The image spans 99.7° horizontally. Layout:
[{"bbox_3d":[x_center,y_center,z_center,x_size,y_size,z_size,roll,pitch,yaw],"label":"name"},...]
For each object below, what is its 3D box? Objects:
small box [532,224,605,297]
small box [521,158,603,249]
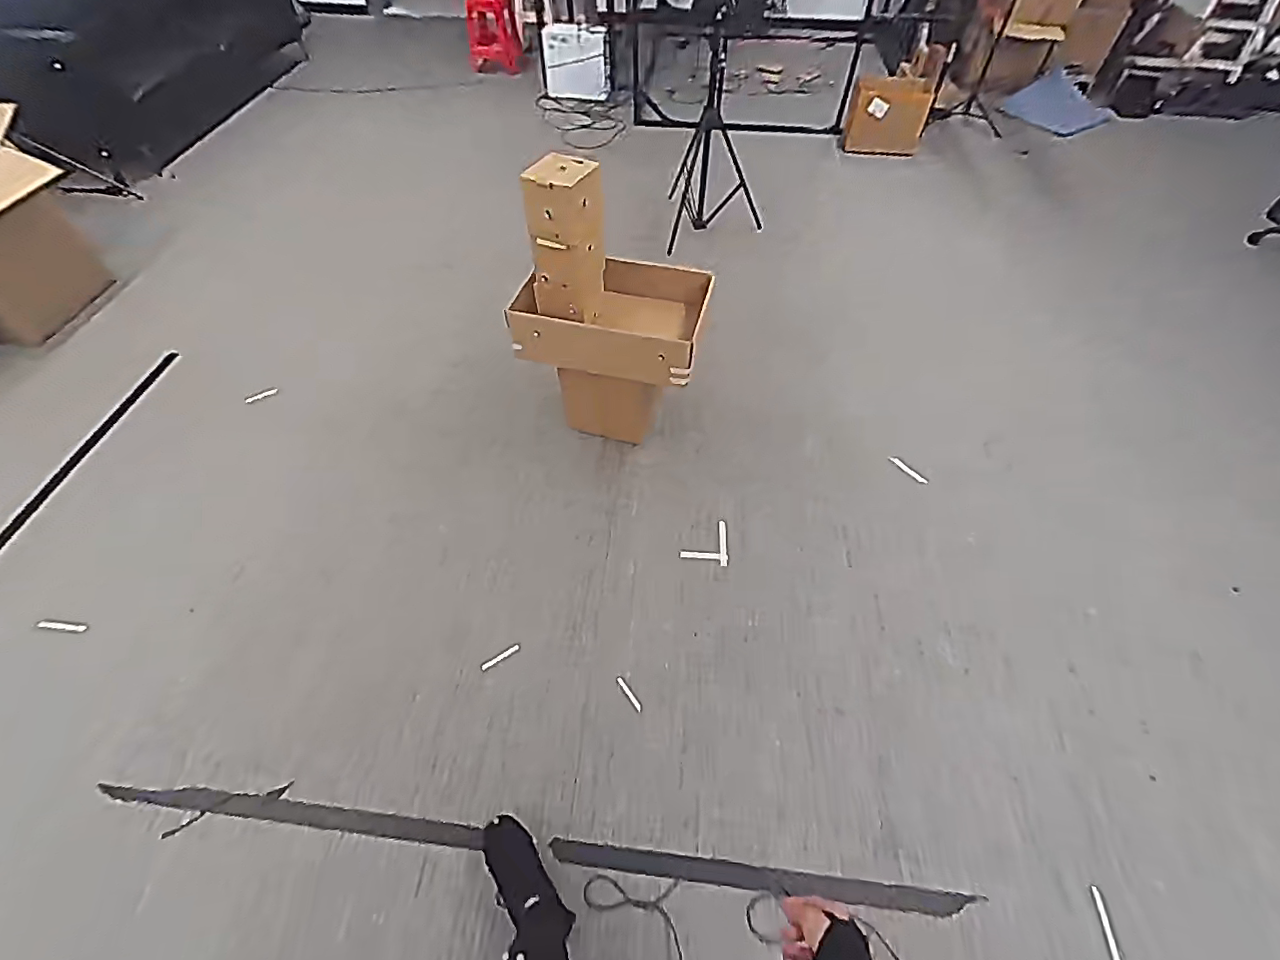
[{"bbox_3d":[-0.217,-0.706,1.705,0.168,0.176,0.179,18,54,13],"label":"small box"},{"bbox_3d":[-0.216,-0.801,1.571,0.168,0.176,0.179,22,56,16],"label":"small box"}]
